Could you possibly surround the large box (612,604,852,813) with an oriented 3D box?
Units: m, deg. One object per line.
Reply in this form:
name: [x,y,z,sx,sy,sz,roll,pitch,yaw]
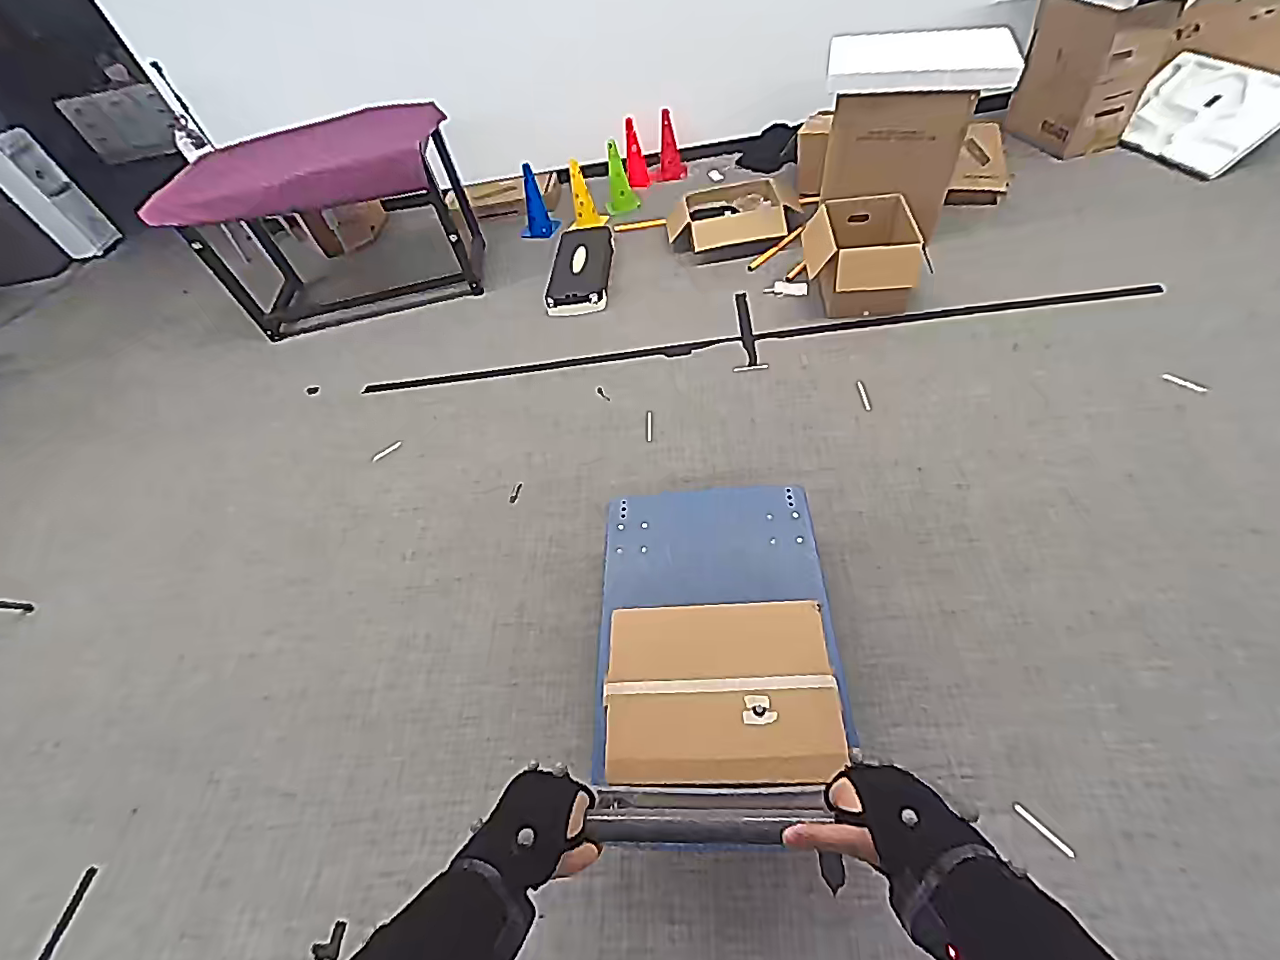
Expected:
large box: [0.165,0.472,1.098,0.408,0.320,0.320,-5,53,6]
